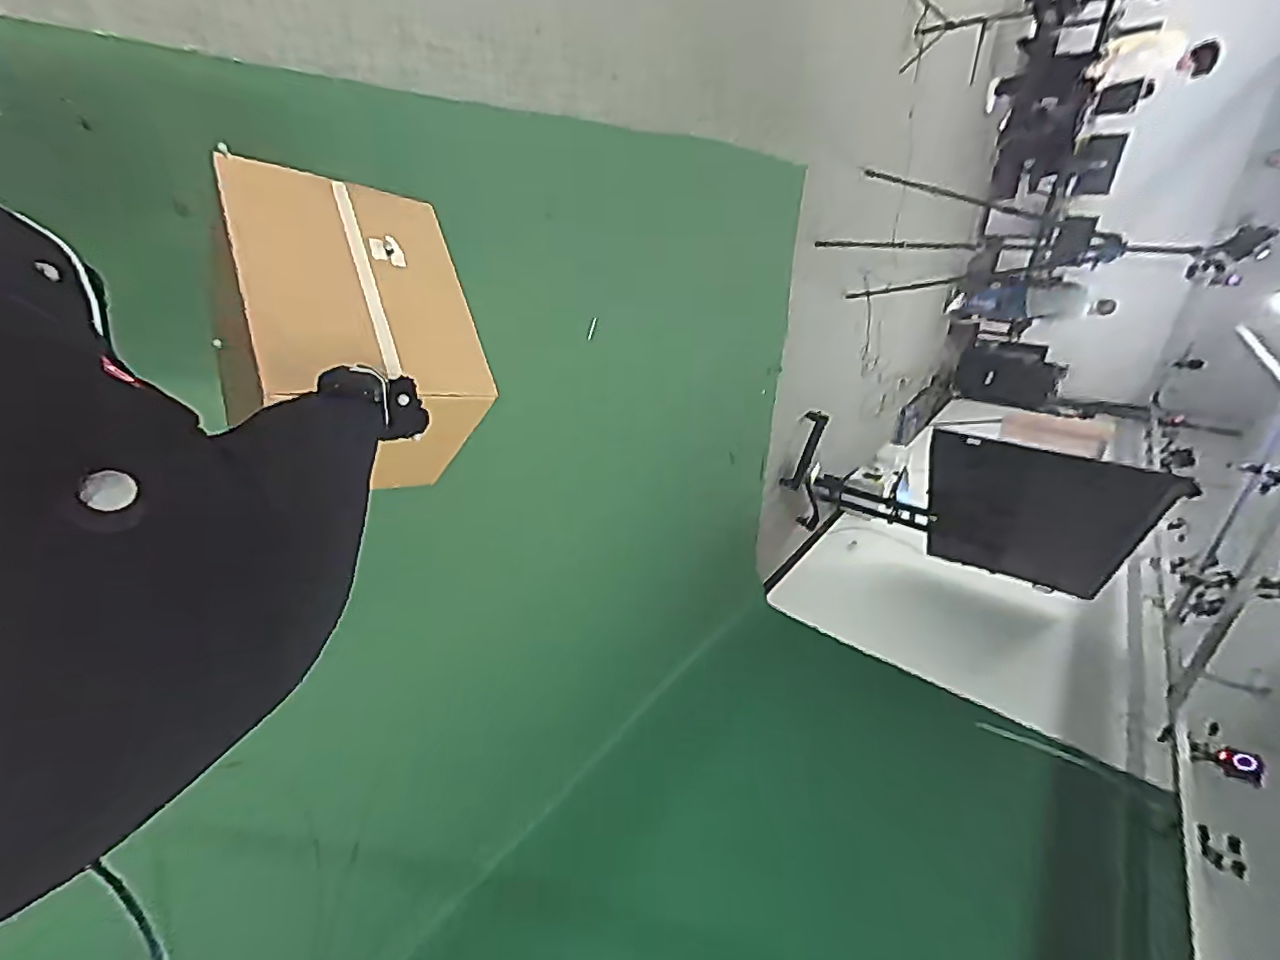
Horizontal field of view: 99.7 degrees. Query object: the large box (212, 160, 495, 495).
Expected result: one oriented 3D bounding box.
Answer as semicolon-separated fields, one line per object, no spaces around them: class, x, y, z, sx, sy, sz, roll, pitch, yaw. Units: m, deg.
large box;-0.502;-0.232;0.921;0.320;0.408;0.320;-9;158;-43
